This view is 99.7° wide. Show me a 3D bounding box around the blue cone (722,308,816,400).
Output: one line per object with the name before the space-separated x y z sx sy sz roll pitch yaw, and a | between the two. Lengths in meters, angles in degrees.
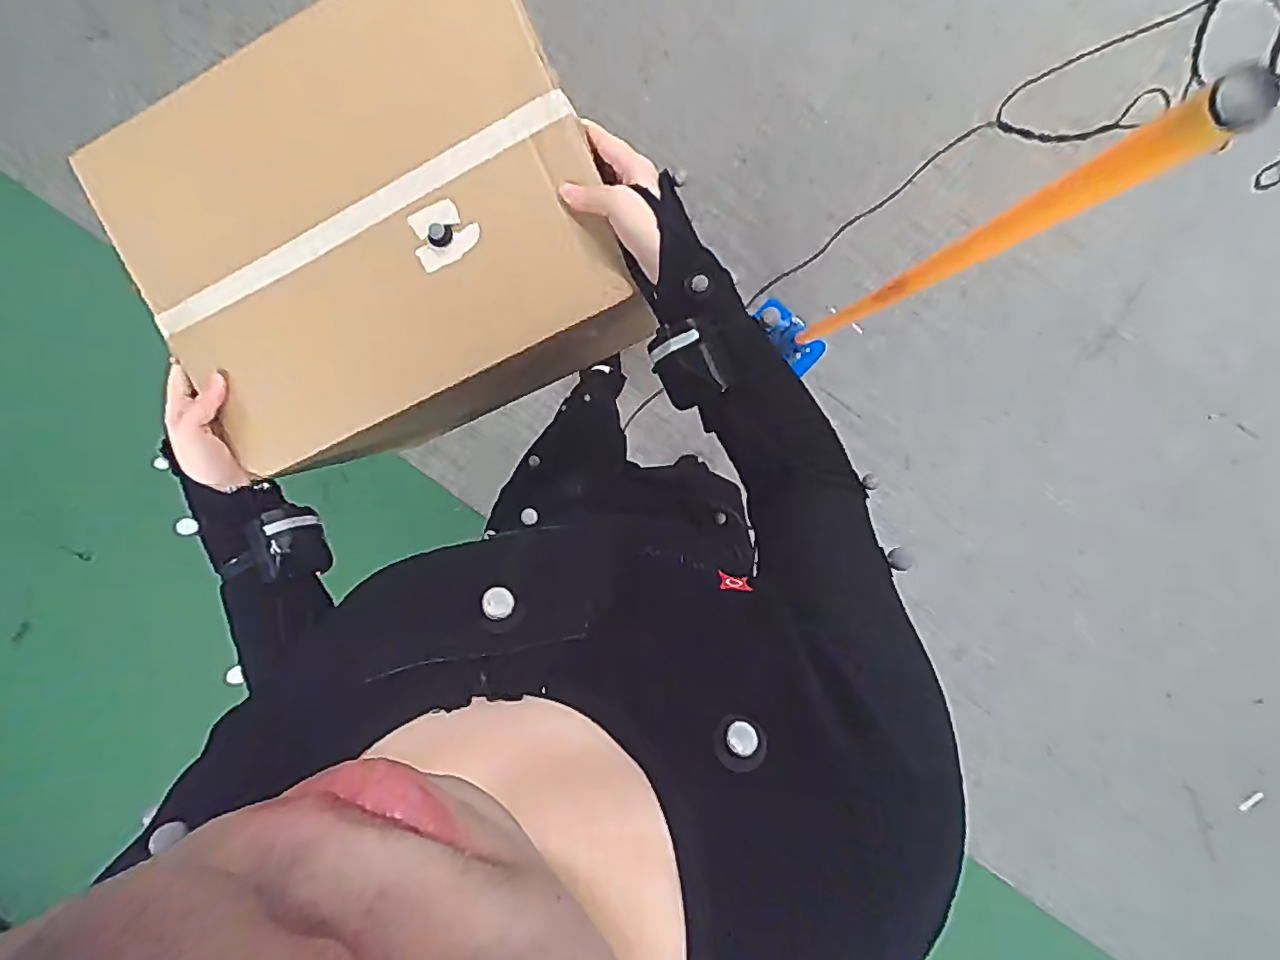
blue cone | 0.319 -0.297 1.238 0.193 0.380 0.192 44 101 -3

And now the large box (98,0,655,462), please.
large box | -0.226 -0.252 0.610 0.408 0.320 0.320 -24 97 6
